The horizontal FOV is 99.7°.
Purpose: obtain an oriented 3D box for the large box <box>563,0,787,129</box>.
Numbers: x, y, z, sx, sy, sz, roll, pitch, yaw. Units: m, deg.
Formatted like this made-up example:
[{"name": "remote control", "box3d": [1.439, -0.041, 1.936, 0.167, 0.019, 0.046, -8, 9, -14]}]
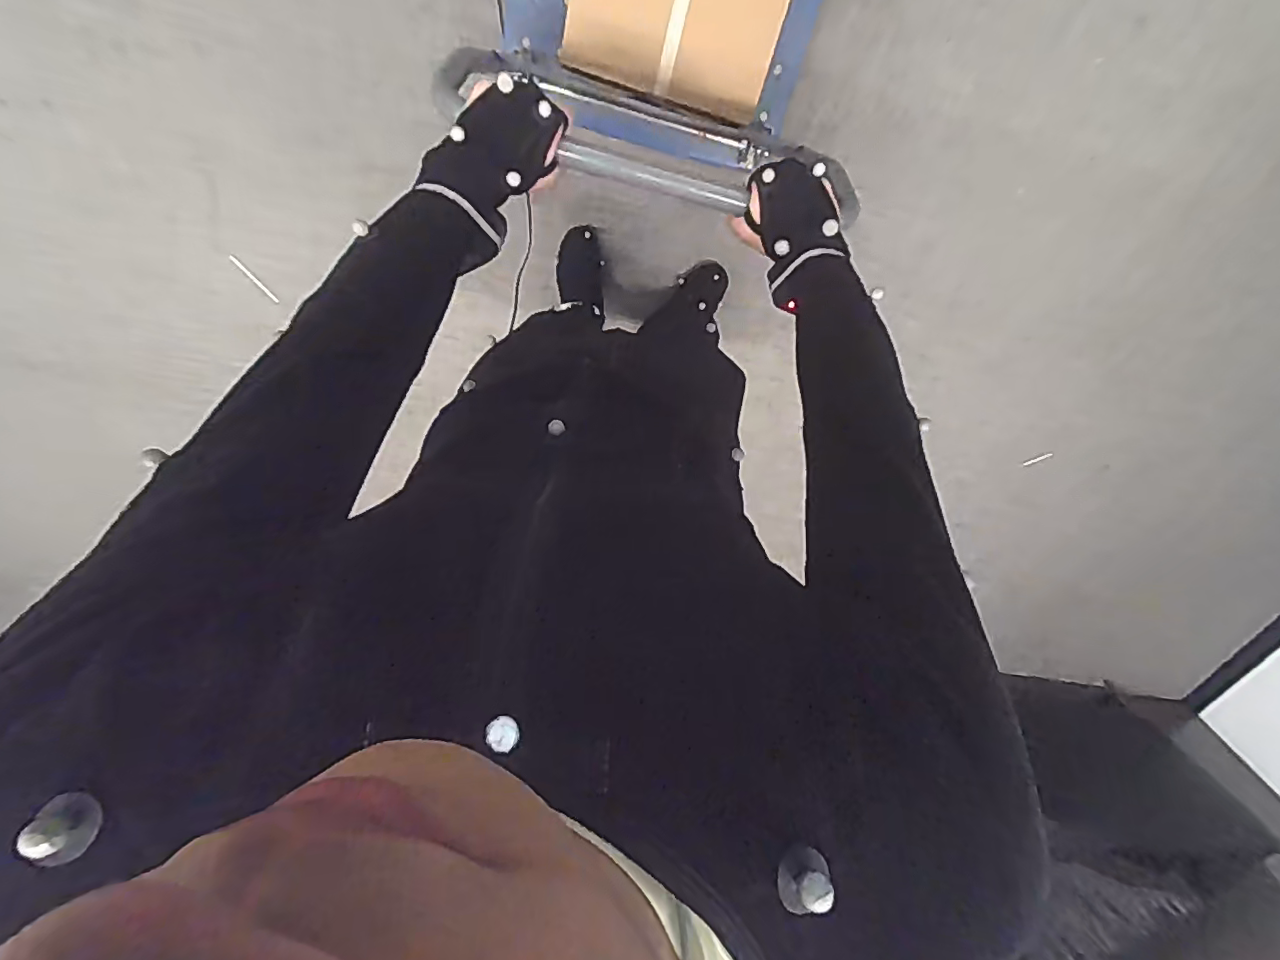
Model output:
[{"name": "large box", "box3d": [0.072, -0.842, 0.879, 0.320, 0.320, 0.408, 11, 122, -10]}]
